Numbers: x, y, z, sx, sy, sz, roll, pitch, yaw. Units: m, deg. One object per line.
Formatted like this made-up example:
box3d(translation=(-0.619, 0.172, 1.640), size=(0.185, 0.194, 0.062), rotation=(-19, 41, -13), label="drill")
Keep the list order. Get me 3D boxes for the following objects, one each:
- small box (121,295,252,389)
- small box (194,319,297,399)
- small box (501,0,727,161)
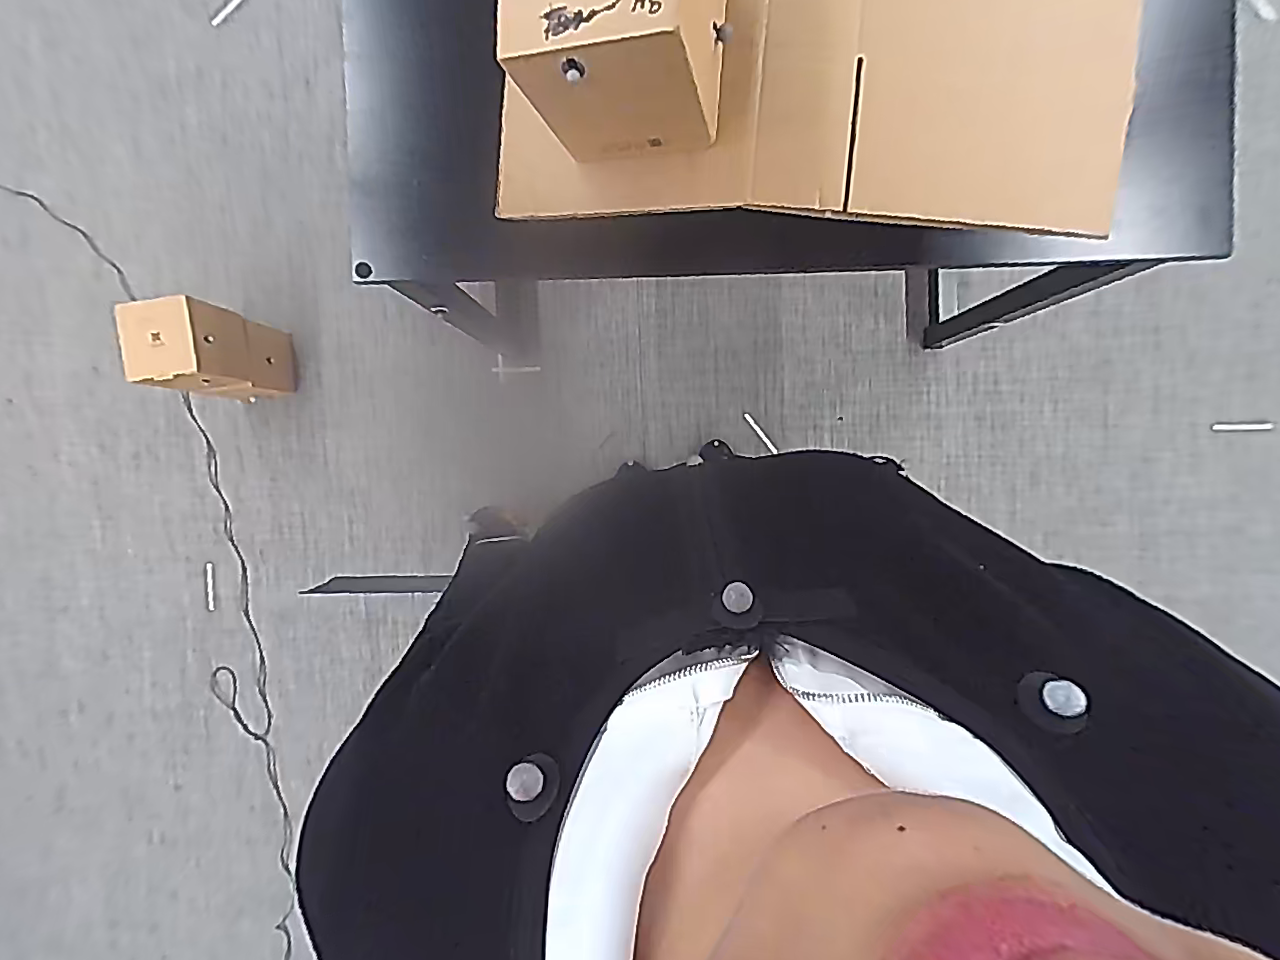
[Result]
box3d(translation=(-1.061, -0.317, 1.282), size=(0.168, 0.176, 0.179), rotation=(-8, 91, 1), label="small box")
box3d(translation=(-1.054, -0.318, 1.444), size=(0.168, 0.176, 0.179), rotation=(-5, 93, 2), label="small box")
box3d(translation=(-0.013, -0.444, 0.519), size=(0.168, 0.176, 0.179), rotation=(5, 92, 18), label="small box")
